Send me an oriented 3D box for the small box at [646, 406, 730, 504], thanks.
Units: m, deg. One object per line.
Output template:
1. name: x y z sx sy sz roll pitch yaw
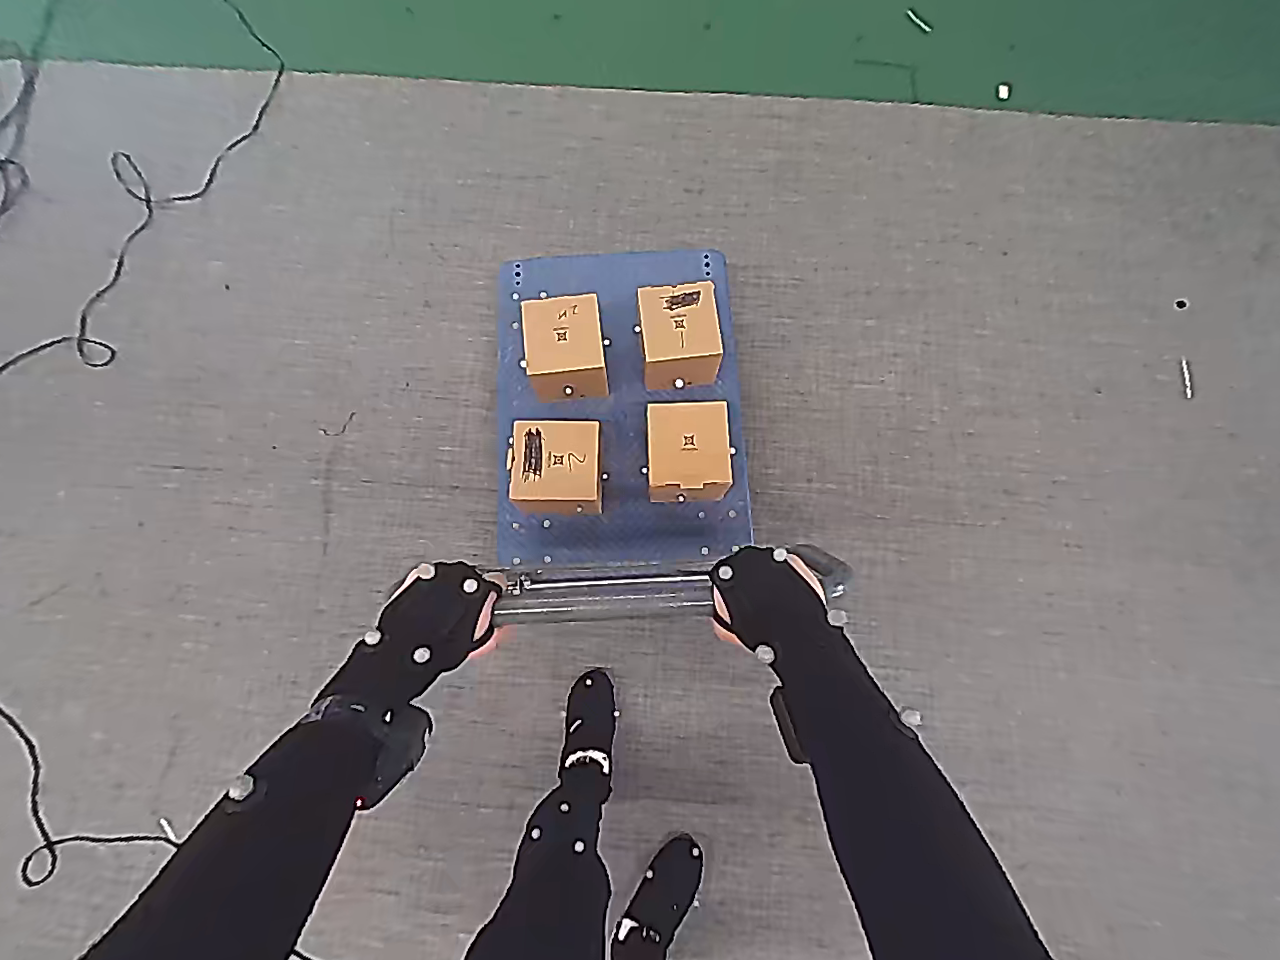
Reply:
1. small box: 0.099 -0.050 1.191 0.168 0.176 0.179 -2 77 0

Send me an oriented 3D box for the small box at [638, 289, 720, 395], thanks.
1. small box: 0.084 -0.314 1.251 0.168 0.176 0.179 -6 78 0

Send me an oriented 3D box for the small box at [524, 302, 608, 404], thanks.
1. small box: -0.166 -0.283 1.246 0.168 0.176 0.179 -6 77 -2
